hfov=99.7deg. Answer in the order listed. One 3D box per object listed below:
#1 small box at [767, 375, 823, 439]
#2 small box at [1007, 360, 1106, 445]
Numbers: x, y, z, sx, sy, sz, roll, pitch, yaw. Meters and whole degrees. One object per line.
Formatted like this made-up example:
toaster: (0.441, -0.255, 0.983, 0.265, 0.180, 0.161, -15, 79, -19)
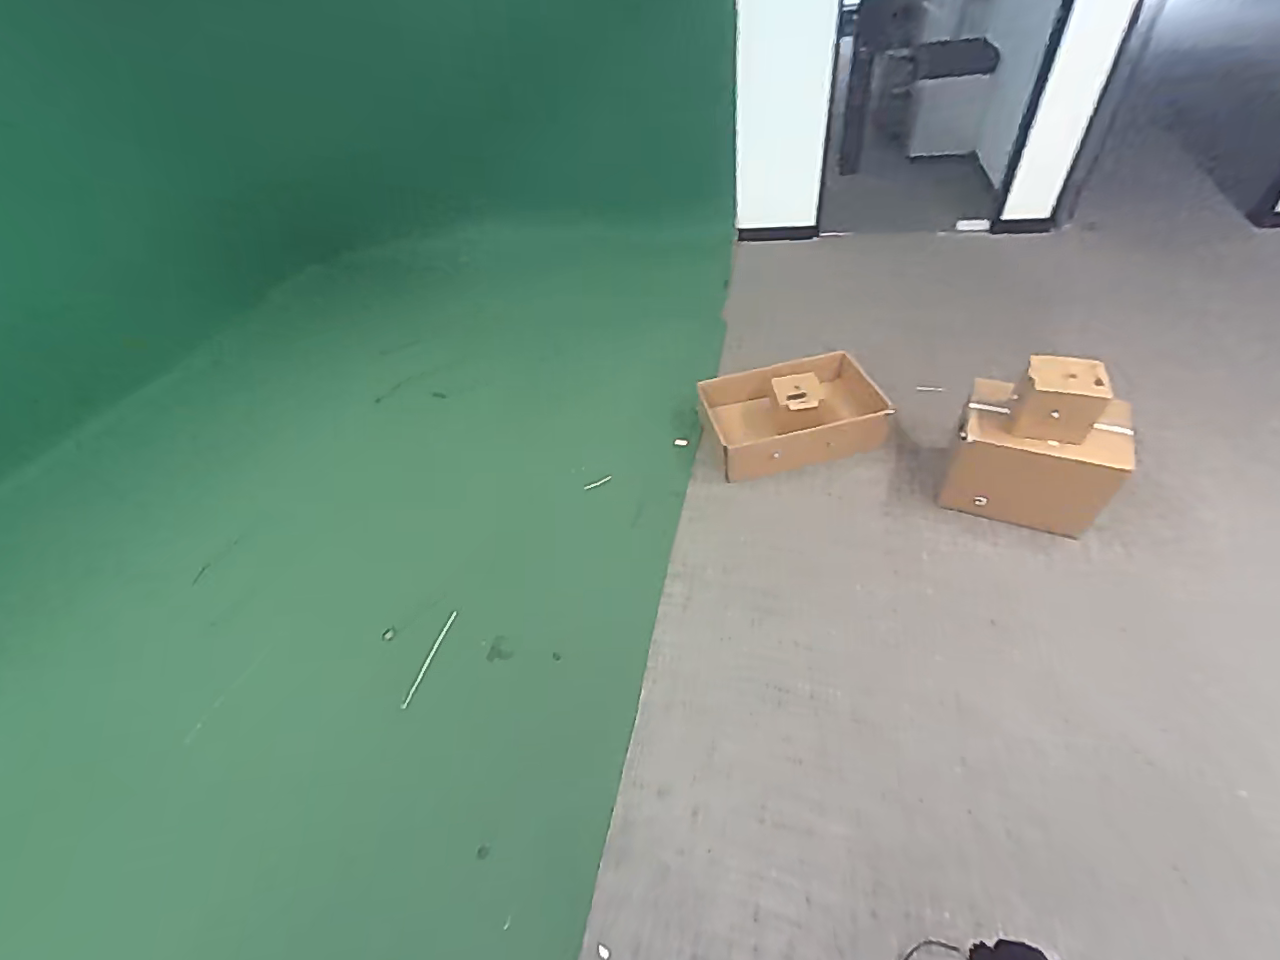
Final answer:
small box: (0.578, -0.266, 2.032, 0.168, 0.176, 0.179, -7, 44, 4)
small box: (1.157, -0.217, 1.522, 0.179, 0.176, 0.168, 10, 50, 19)
